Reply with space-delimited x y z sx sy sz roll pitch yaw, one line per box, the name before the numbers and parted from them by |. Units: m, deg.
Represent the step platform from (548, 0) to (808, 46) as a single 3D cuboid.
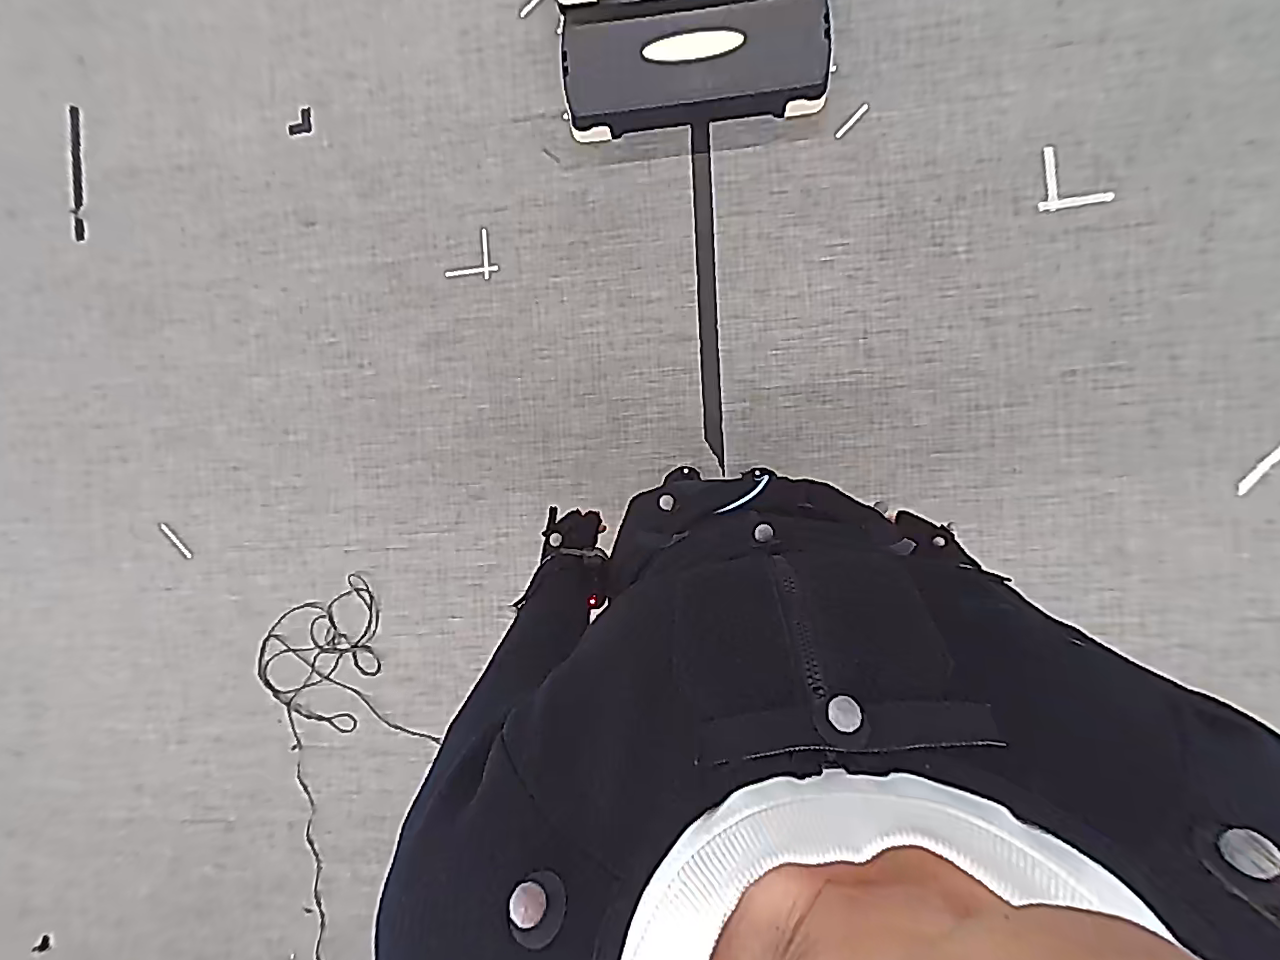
step platform | 0.091 -1.324 1.328 0.684 0.204 0.286 -5 92 5
